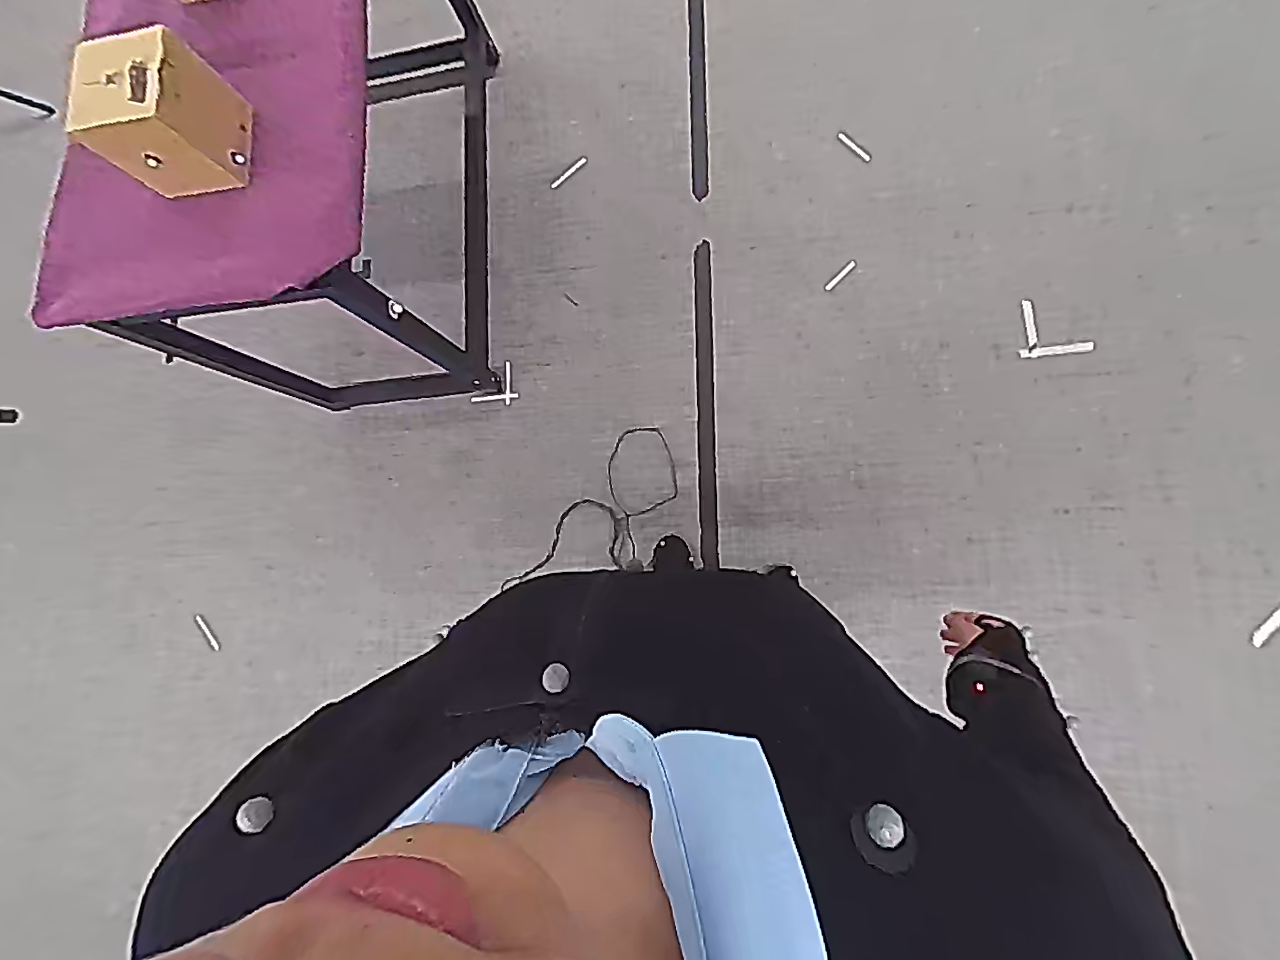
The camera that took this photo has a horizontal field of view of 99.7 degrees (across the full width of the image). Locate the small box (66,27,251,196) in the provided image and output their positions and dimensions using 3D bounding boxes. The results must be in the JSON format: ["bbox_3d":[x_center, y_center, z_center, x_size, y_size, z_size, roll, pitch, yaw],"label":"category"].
[{"bbox_3d":[-0.821,-0.626,0.940,0.179,0.176,0.168,-3,82,9],"label":"small box"}]
